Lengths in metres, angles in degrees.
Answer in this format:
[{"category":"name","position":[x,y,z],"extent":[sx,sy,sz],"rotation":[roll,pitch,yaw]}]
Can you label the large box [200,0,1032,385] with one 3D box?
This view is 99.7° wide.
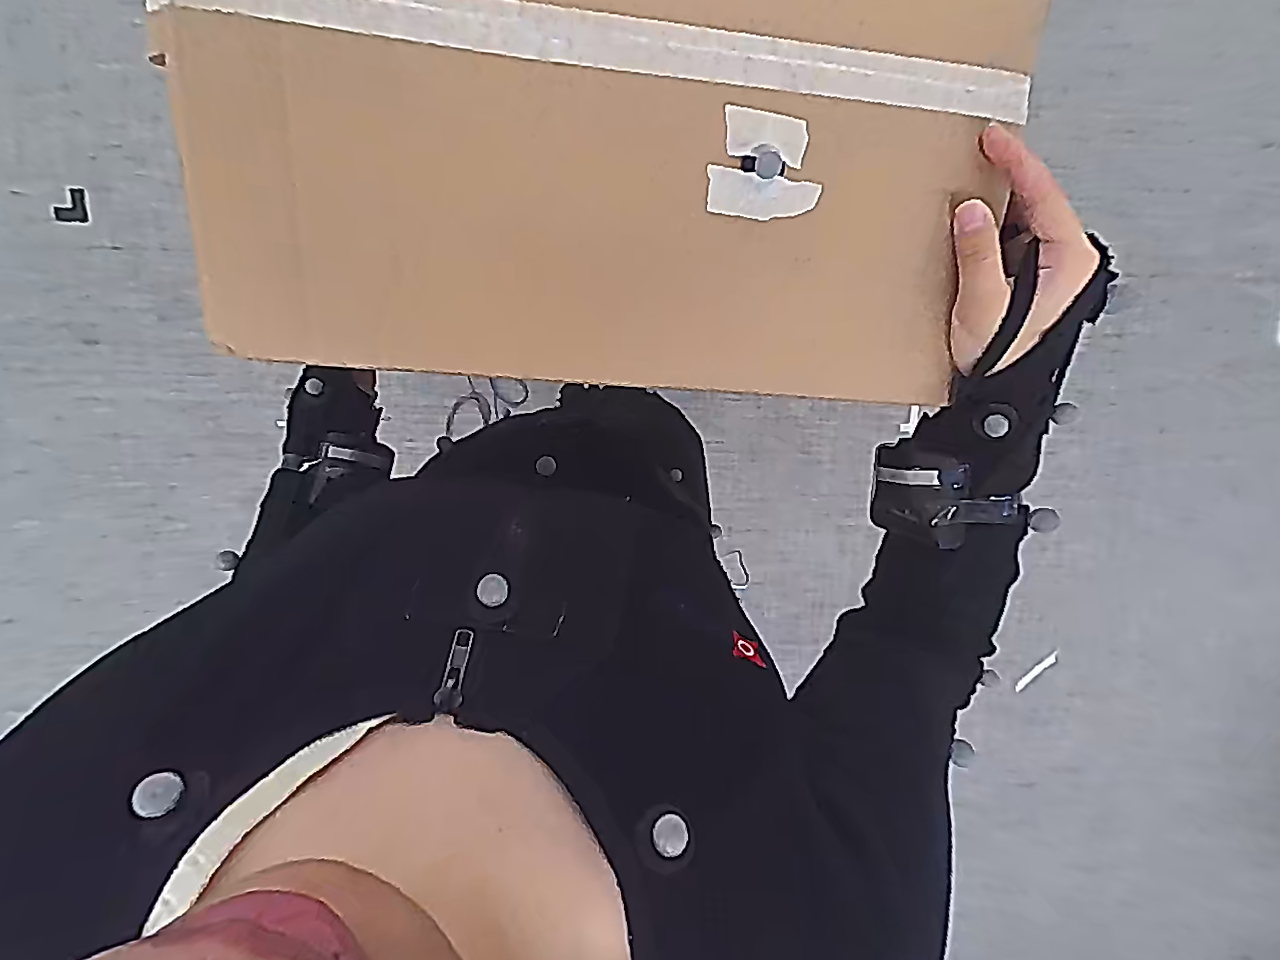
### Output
[{"category":"large box","position":[-0.019,-0.250,0.407],"extent":[0.408,0.320,0.320],"rotation":[2,107,-8]}]
